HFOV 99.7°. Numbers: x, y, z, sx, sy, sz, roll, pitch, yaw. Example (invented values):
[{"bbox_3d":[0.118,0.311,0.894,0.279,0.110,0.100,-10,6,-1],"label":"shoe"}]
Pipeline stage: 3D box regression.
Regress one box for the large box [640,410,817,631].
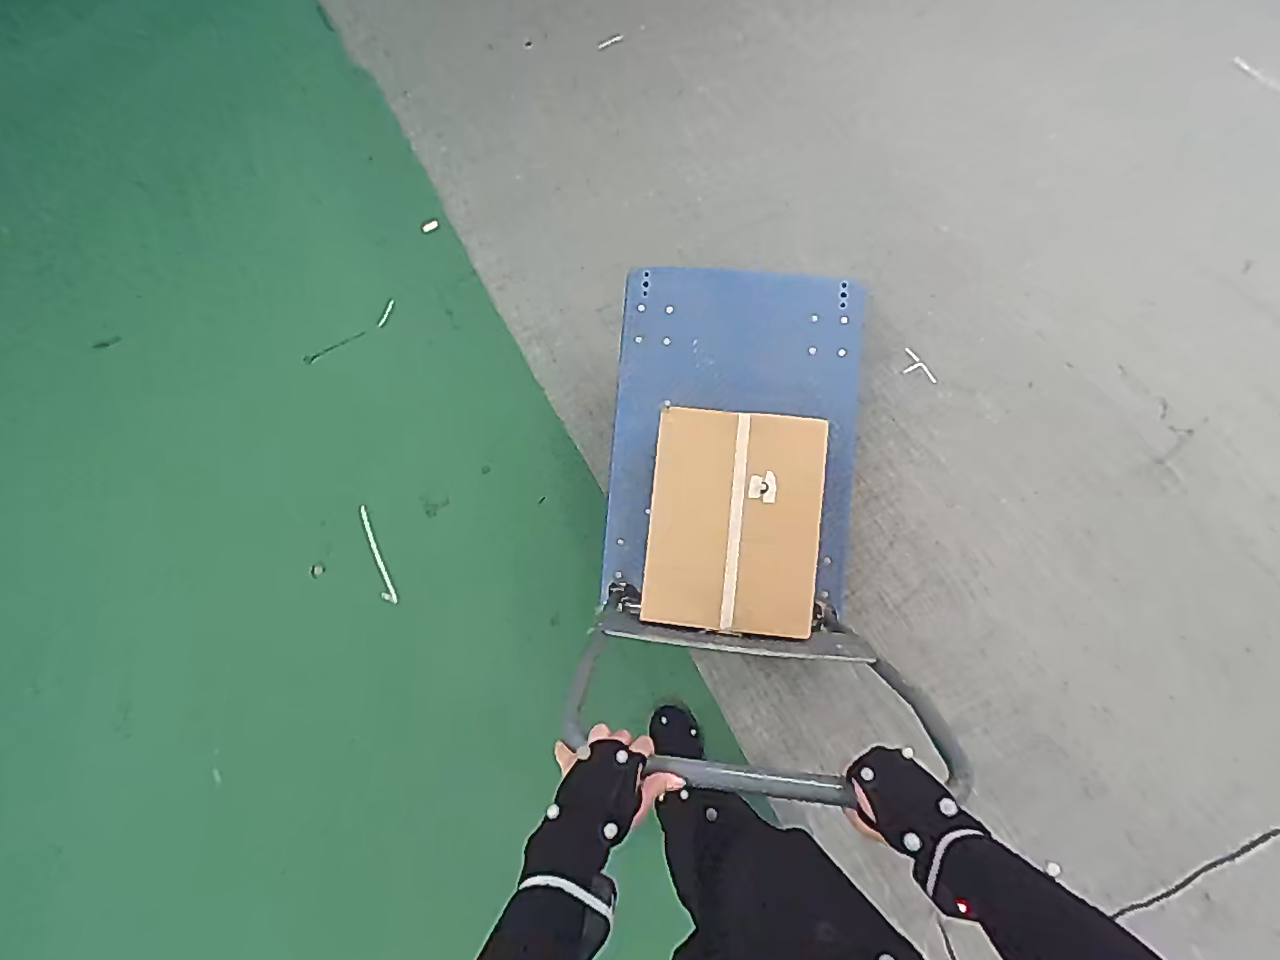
[{"bbox_3d":[0.179,0.086,1.172,0.320,0.320,0.408,5,86,4],"label":"large box"}]
